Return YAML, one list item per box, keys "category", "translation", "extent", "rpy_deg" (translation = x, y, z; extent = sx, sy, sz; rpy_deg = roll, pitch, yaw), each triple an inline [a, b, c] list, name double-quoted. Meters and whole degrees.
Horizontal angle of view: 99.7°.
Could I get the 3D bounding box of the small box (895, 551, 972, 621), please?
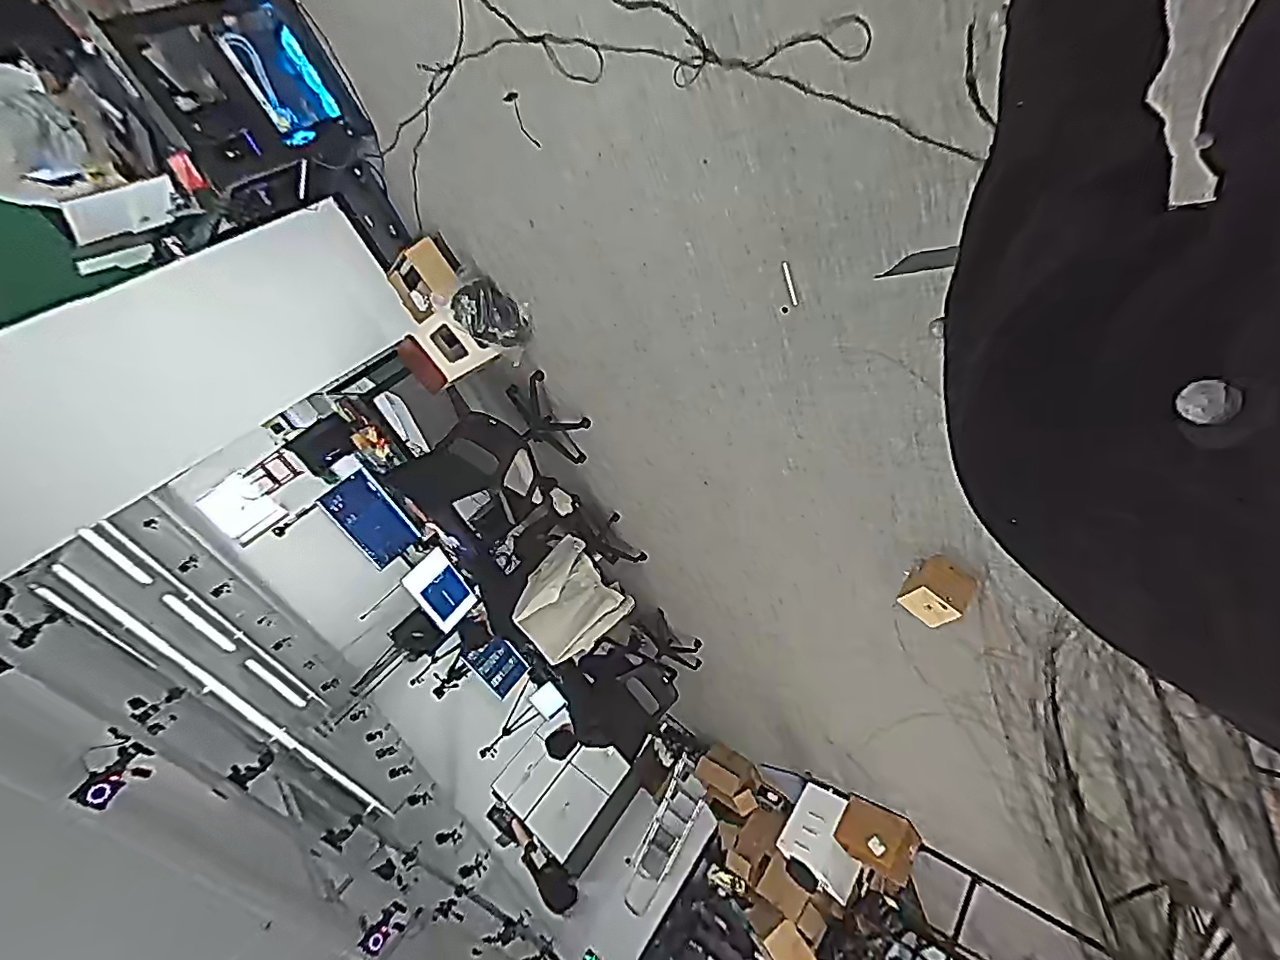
- category: "small box"
  translation: [1.113, 0.401, 2.044]
  extent: [0.168, 0.176, 0.179]
  rpy_deg: [39, 152, 11]
